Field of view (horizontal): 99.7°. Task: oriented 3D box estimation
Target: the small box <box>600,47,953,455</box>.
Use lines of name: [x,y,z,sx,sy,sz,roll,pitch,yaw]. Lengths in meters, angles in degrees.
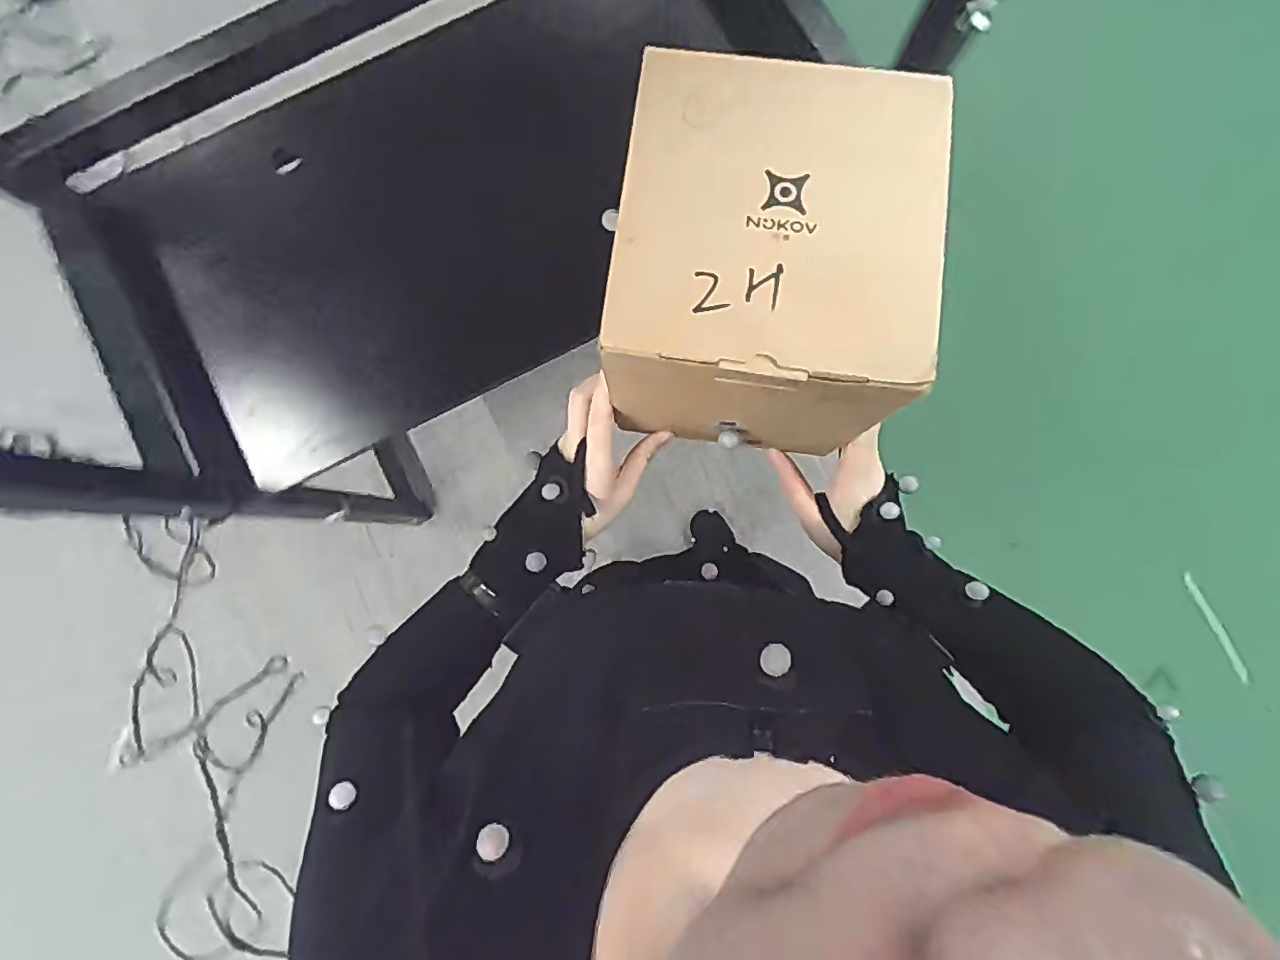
small box: [0.075,-0.128,0.358,0.168,0.176,0.179,9,82,4]
